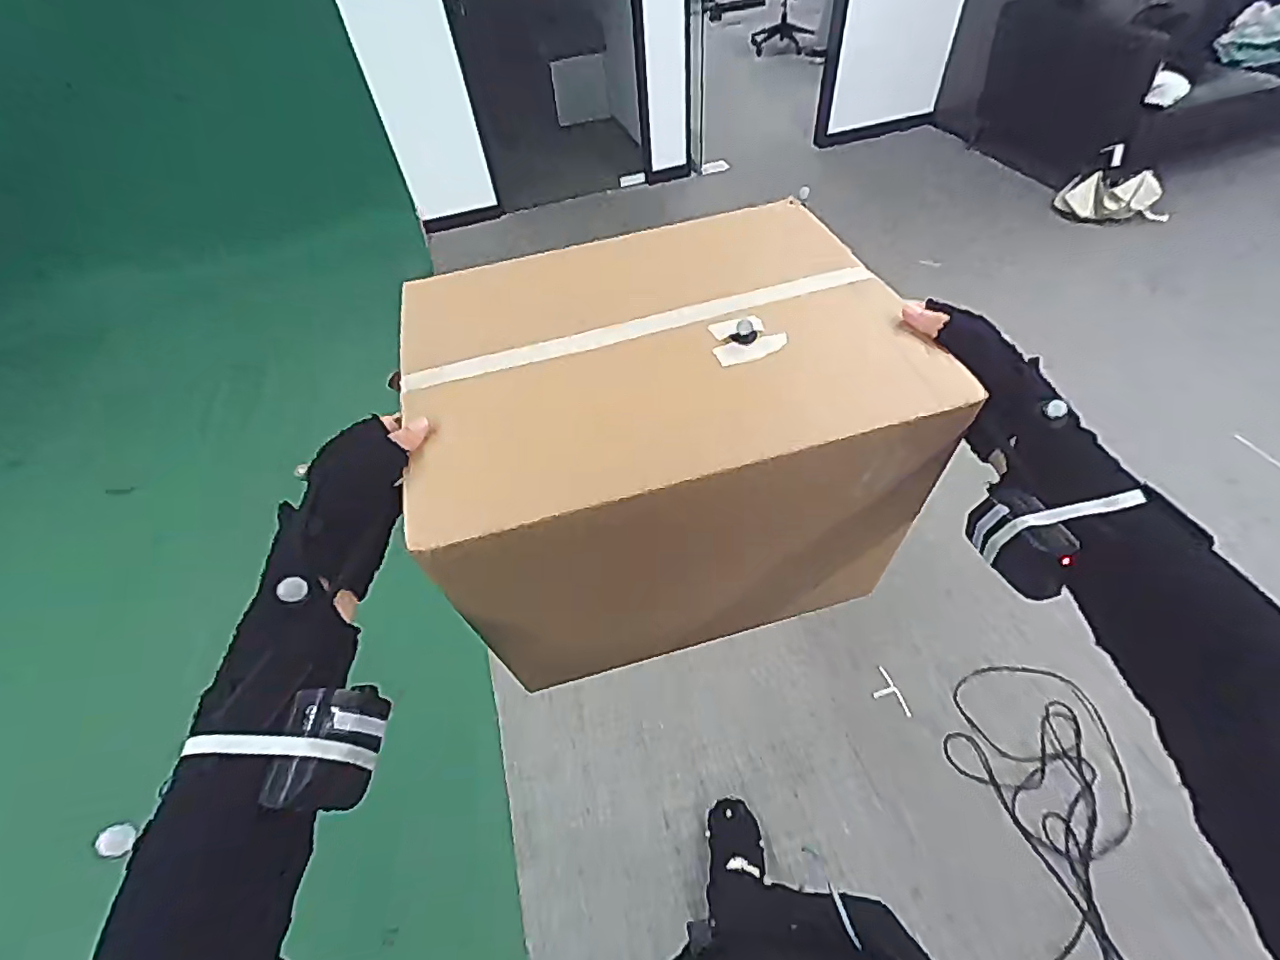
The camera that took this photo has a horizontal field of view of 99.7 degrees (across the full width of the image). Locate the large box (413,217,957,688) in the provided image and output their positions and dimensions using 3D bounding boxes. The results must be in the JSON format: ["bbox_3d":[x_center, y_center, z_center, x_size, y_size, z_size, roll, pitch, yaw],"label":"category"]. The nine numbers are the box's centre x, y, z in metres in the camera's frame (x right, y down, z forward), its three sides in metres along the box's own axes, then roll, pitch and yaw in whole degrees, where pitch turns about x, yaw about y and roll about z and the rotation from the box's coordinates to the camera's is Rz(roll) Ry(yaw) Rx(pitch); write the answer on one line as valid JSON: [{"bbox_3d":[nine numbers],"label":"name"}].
[{"bbox_3d":[0.016,-0.025,0.581,0.408,0.320,0.320,-15,53,-6],"label":"large box"}]
